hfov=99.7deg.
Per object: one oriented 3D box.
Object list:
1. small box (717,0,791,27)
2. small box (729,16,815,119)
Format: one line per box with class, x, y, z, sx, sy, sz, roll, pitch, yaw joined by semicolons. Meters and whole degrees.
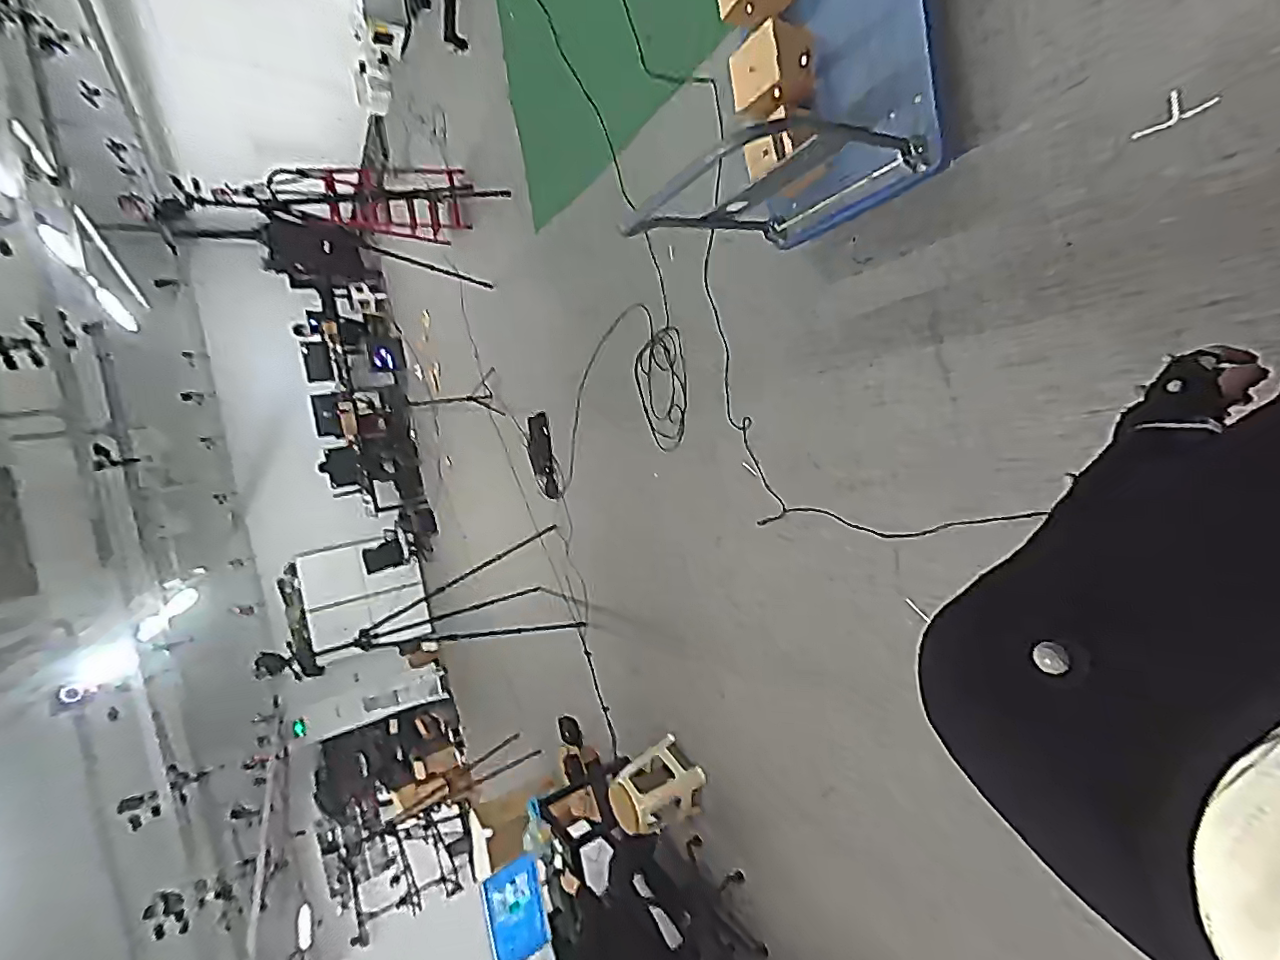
small box;0.343;-1.494;1.601;0.179;0.176;0.168;6;109;55
small box;0.397;-1.224;1.623;0.179;0.176;0.168;-3;98;56
